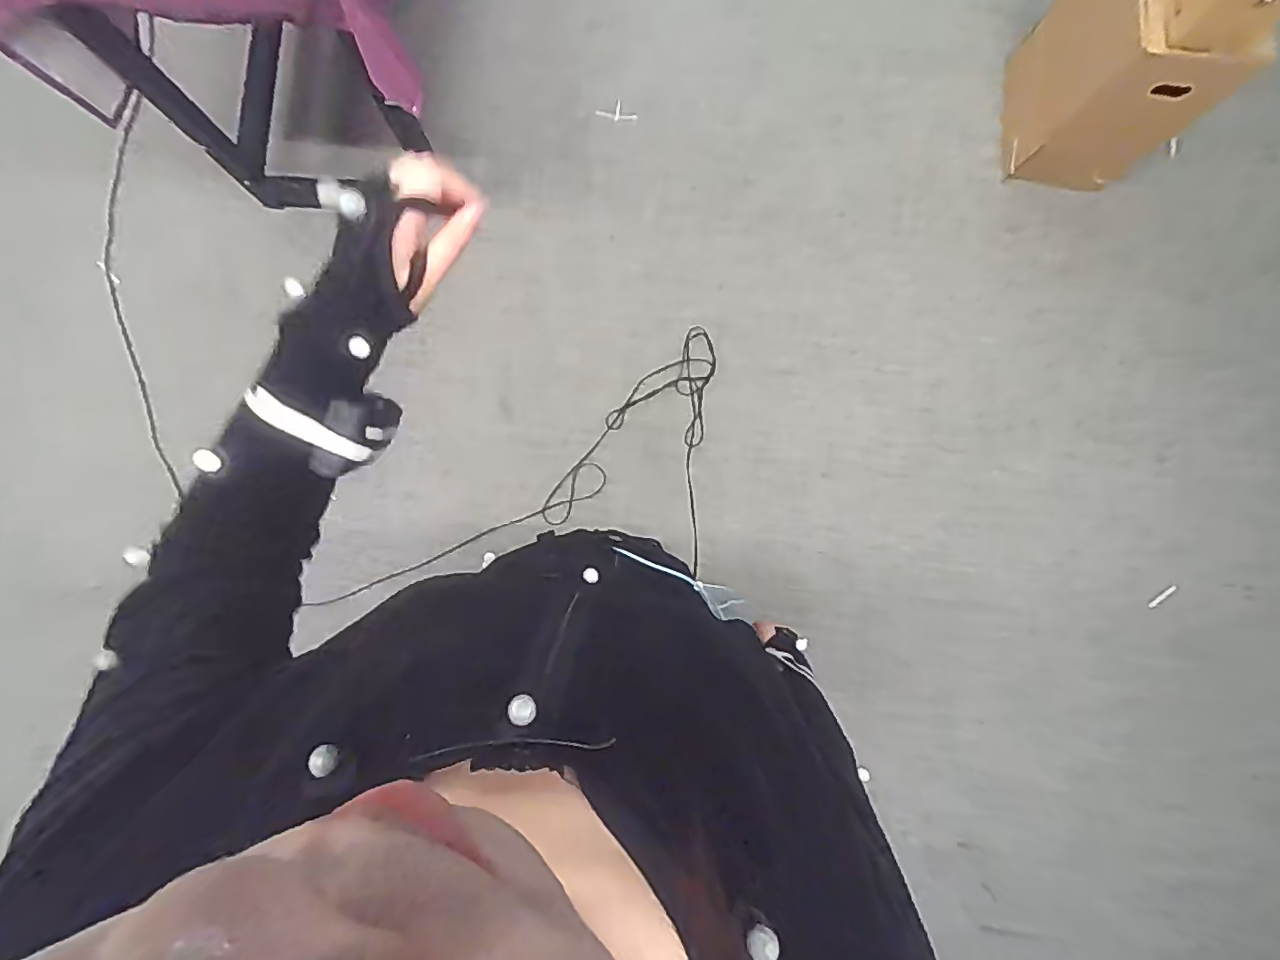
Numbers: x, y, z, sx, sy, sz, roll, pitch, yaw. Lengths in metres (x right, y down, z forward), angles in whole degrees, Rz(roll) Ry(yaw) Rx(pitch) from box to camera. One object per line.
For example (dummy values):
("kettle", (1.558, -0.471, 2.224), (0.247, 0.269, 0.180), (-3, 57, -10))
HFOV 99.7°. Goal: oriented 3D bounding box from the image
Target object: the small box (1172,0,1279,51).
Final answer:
("small box", (1.284, -1.048, 1.133), (0.179, 0.176, 0.168), (5, 83, 0))
